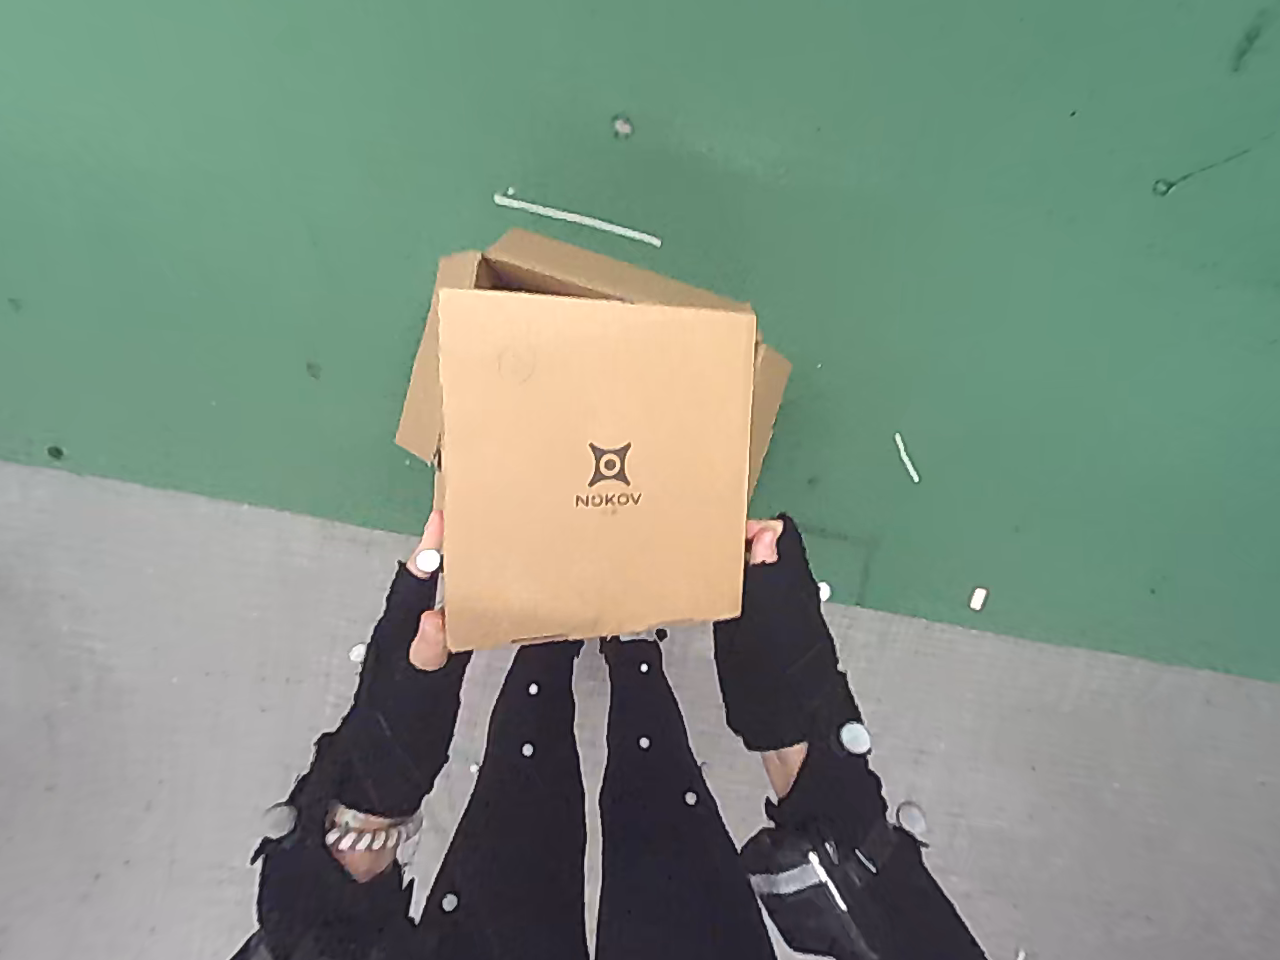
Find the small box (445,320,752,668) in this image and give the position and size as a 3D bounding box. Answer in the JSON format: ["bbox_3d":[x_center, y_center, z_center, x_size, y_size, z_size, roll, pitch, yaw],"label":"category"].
[{"bbox_3d":[-0.043,0.000,0.364,0.168,0.176,0.179,-1,99,-19],"label":"small box"}]
